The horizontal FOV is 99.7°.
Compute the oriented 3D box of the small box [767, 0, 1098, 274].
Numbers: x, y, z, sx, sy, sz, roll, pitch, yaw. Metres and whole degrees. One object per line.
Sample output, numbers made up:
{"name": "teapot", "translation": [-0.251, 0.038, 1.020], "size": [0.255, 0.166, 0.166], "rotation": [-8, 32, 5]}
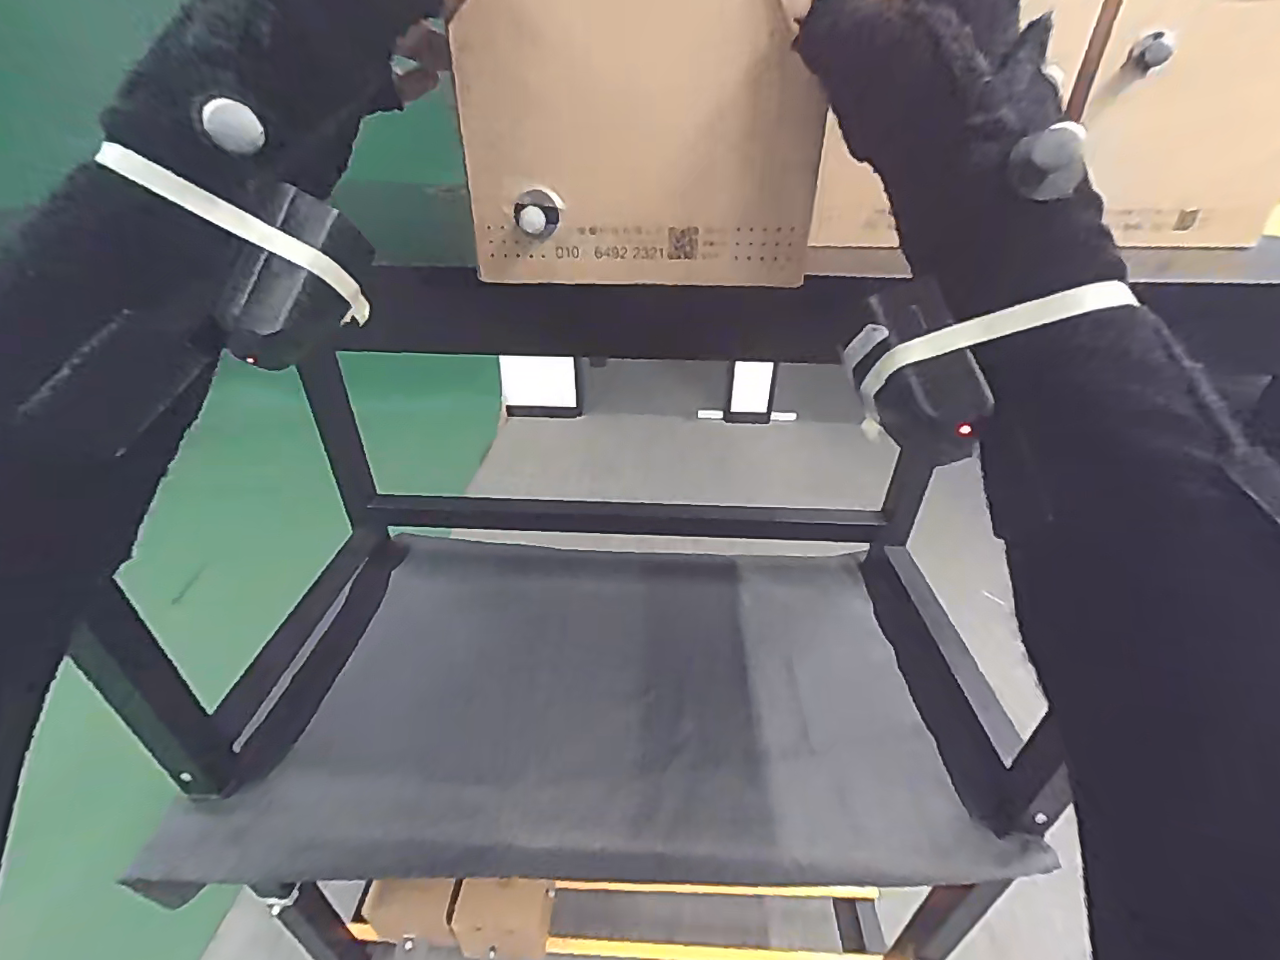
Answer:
{"name": "small box", "translation": [0.212, -0.282, 0.458], "size": [0.168, 0.176, 0.179], "rotation": [1, 32, 0]}
